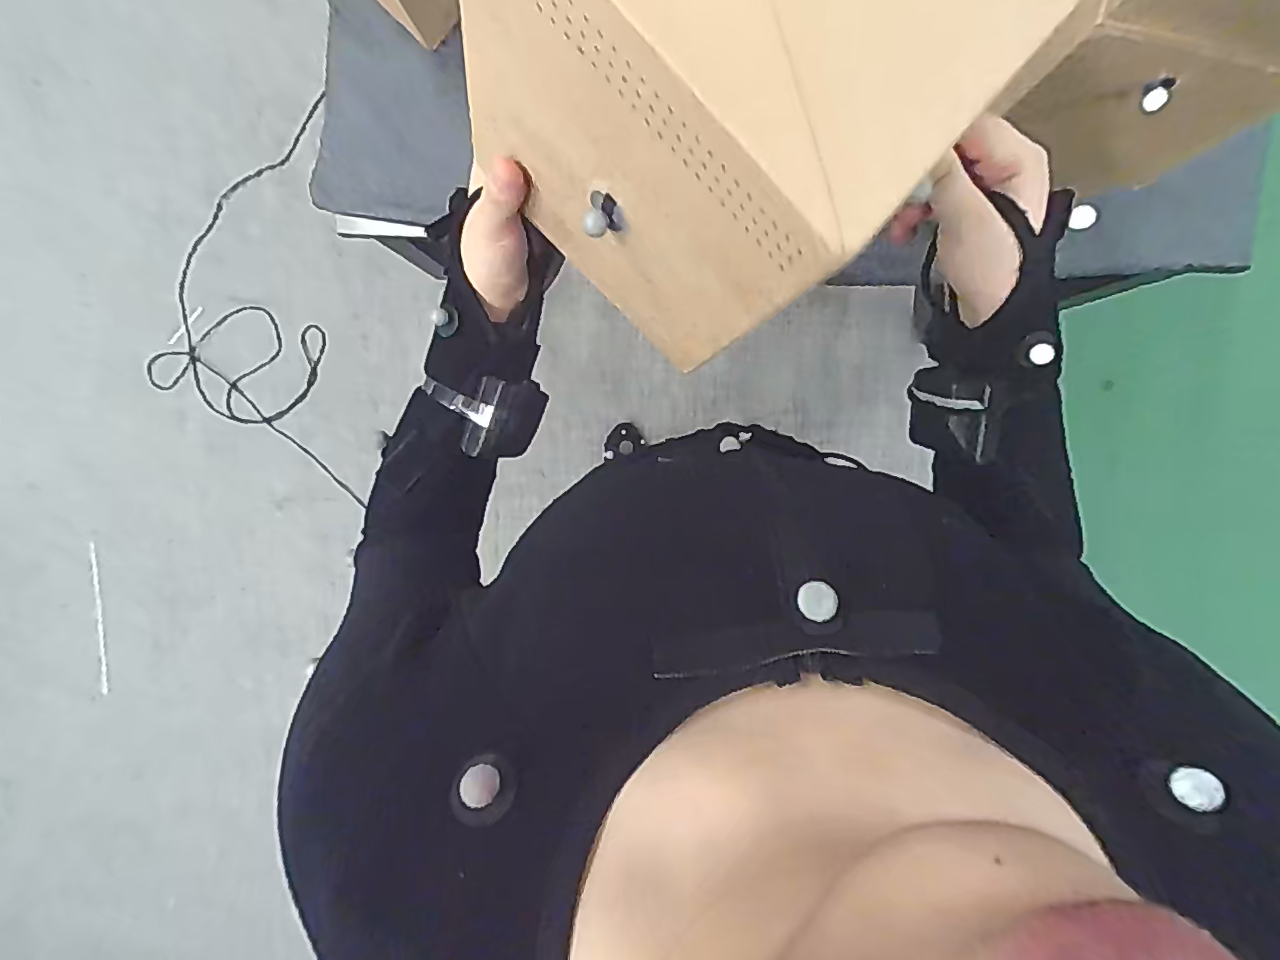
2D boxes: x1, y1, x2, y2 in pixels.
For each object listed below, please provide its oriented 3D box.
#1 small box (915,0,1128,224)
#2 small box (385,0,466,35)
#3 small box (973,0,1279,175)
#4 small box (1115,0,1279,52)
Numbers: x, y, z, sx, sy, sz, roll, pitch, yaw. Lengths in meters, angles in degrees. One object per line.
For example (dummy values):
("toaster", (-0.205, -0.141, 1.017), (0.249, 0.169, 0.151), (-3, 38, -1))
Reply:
("small box", (0.436, -0.416, 0.612), (0.168, 0.176, 0.179), (5, 96, 3))
("small box", (-0.285, -0.678, 0.615), (0.179, 0.176, 0.168), (44, 96, -3))
("small box", (0.429, -0.387, 0.452), (0.179, 0.176, 0.168), (15, 95, 2))
("small box", (0.424, -0.375, 0.287), (0.179, 0.176, 0.168), (17, 95, 2))
